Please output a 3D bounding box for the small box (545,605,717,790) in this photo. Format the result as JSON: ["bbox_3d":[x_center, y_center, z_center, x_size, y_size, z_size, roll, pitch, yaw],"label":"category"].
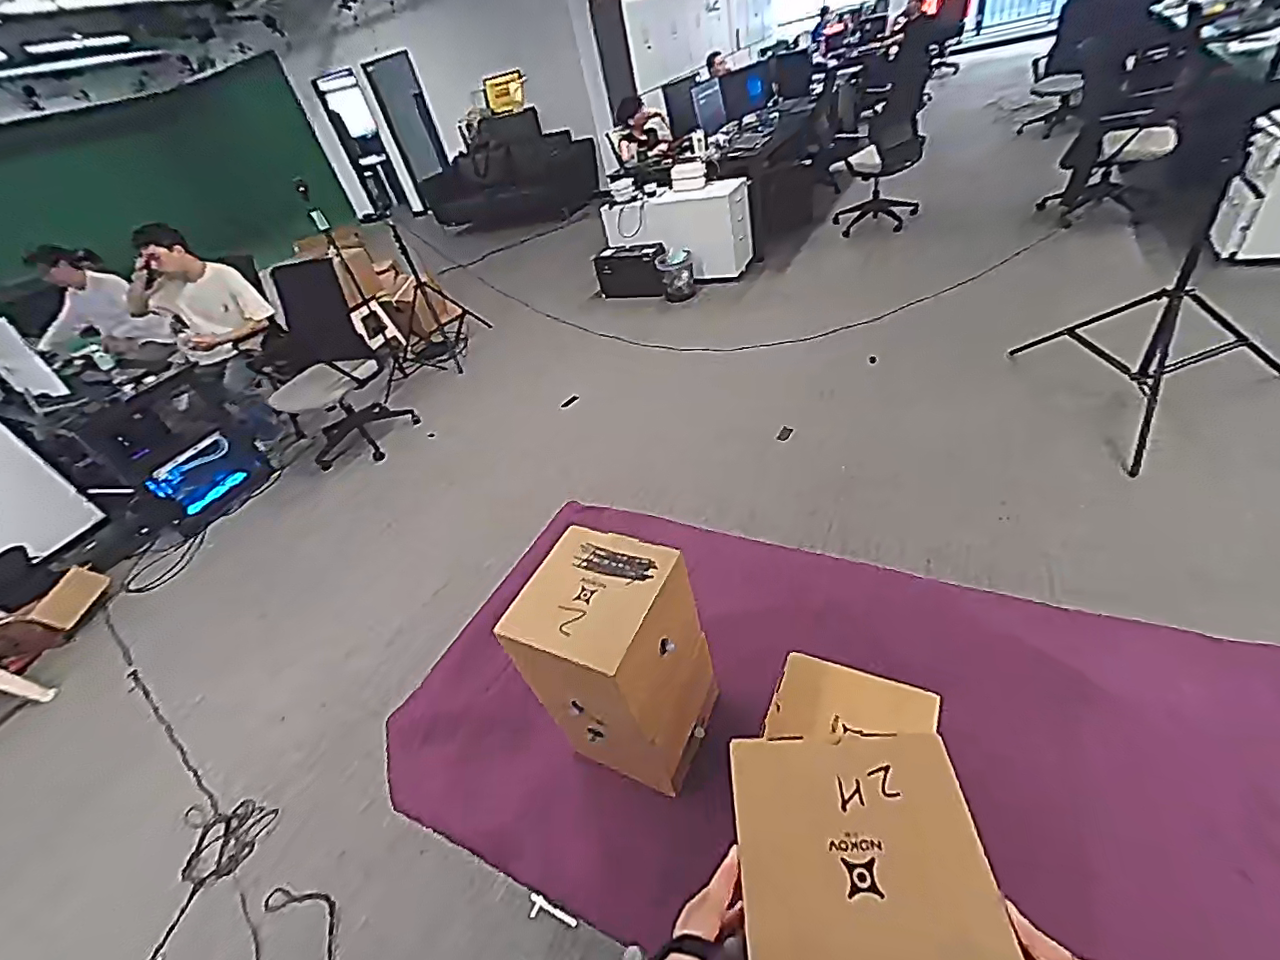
[{"bbox_3d":[-0.003,0.314,0.785,0.179,0.176,0.168,9,45,28],"label":"small box"}]

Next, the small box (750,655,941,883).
[{"bbox_3d":[0.250,0.350,0.657,0.179,0.176,0.168,9,45,29],"label":"small box"}]
